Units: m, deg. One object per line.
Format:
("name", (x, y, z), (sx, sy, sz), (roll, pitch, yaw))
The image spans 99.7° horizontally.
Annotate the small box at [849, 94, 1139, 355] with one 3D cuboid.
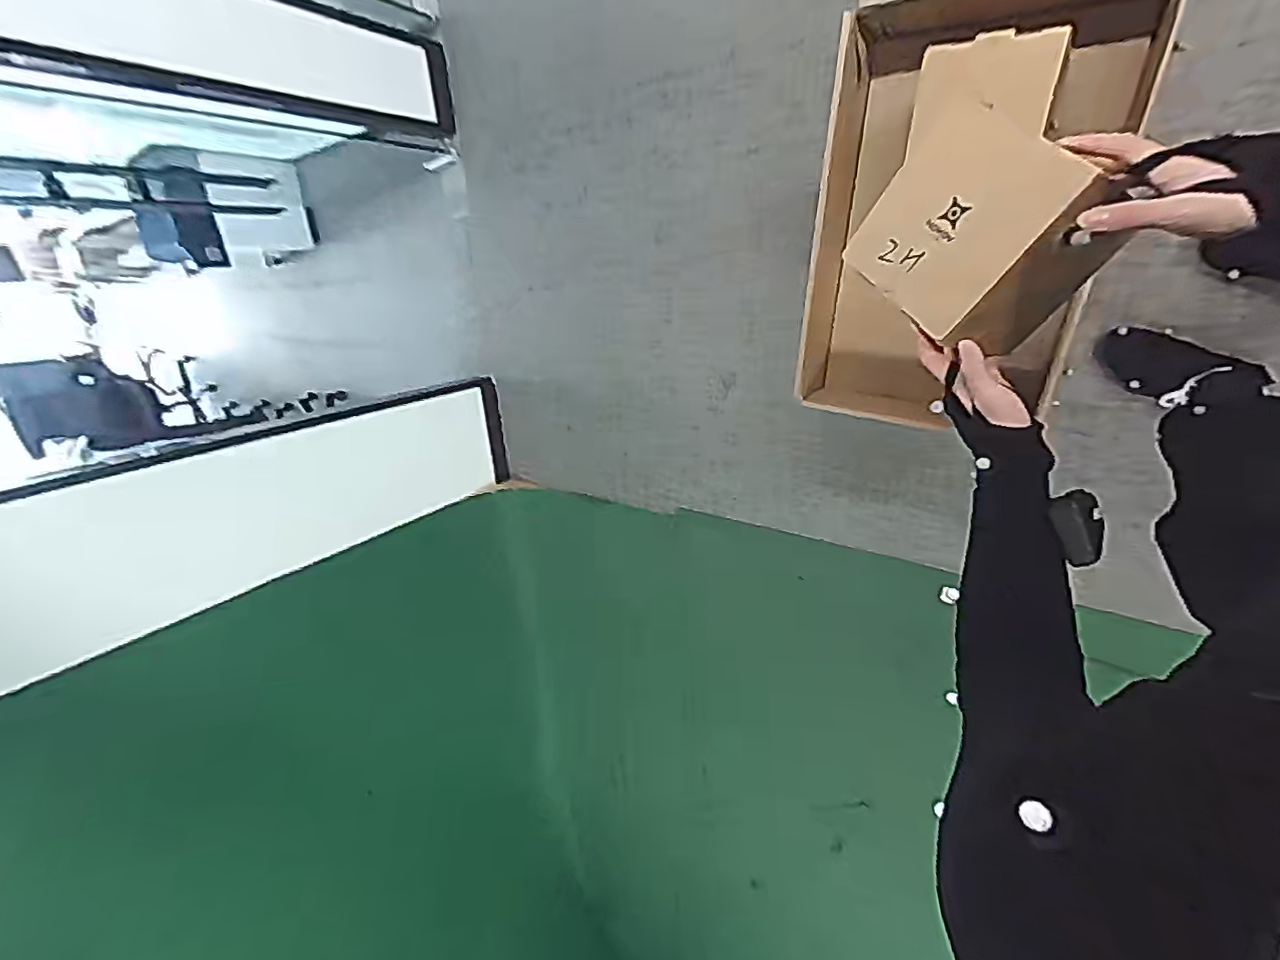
("small box", (0.371, -0.254, 0.572), (0.179, 0.176, 0.168), (-57, 49, 39))
